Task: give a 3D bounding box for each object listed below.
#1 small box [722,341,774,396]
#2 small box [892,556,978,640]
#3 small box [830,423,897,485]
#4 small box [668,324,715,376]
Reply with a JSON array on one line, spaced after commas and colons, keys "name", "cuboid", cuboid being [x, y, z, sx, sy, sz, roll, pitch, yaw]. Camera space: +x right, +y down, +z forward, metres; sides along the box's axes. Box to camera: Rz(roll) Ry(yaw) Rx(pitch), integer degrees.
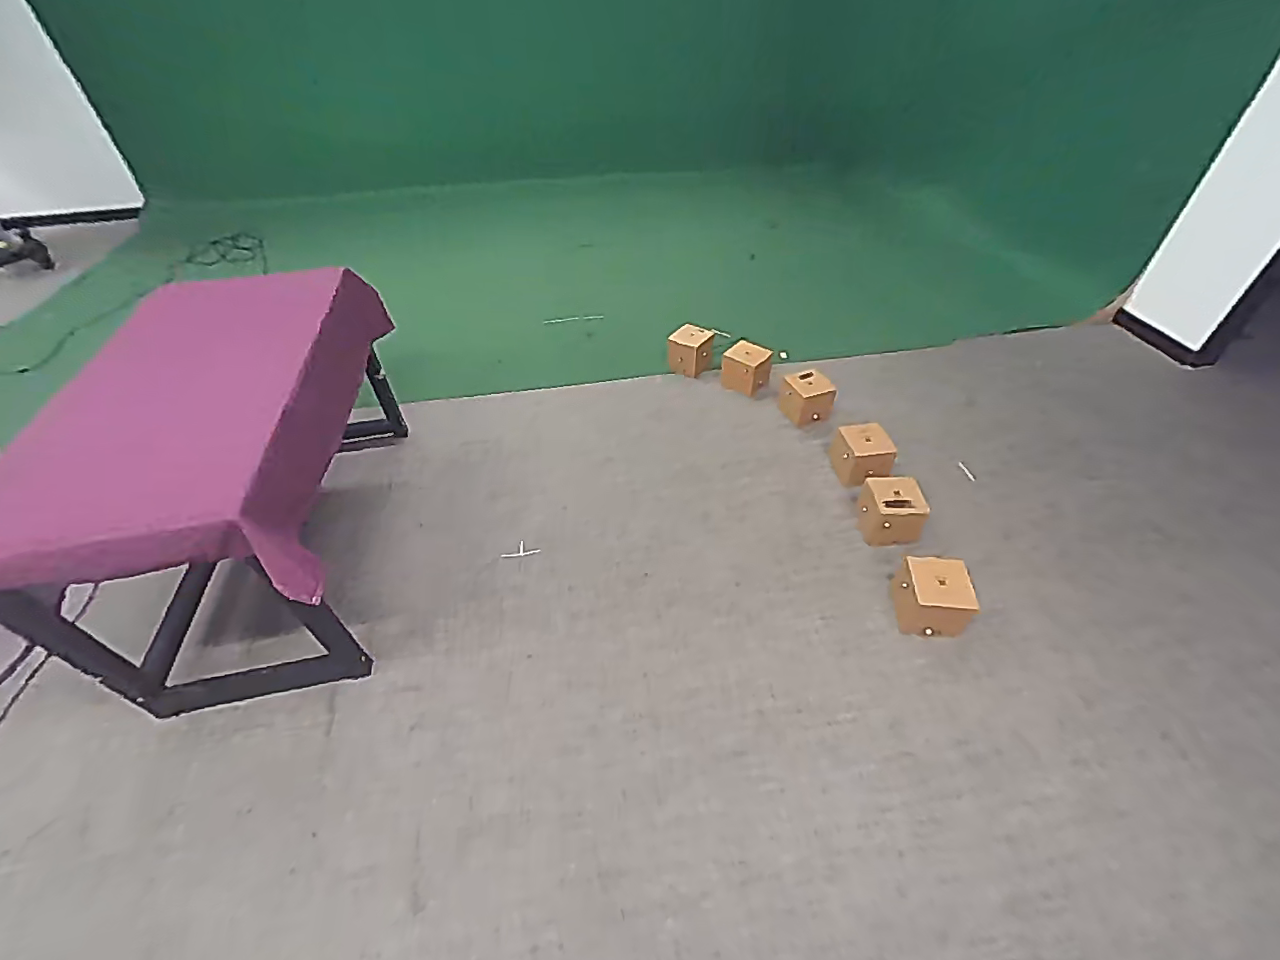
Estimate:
[{"name": "small box", "cuboid": [0.501, -0.521, 2.540, 0.179, 0.176, 0.168, 31, 53, 28]}, {"name": "small box", "cuboid": [0.882, 0.356, 1.636, 0.168, 0.176, 0.179, 4, 46, 7]}, {"name": "small box", "cuboid": [0.858, -0.095, 2.090, 0.168, 0.176, 0.179, -6, 45, -5]}, {"name": "small box", "cuboid": [0.253, -0.635, 2.660, 0.168, 0.176, 0.179, 27, 52, 26]}]
